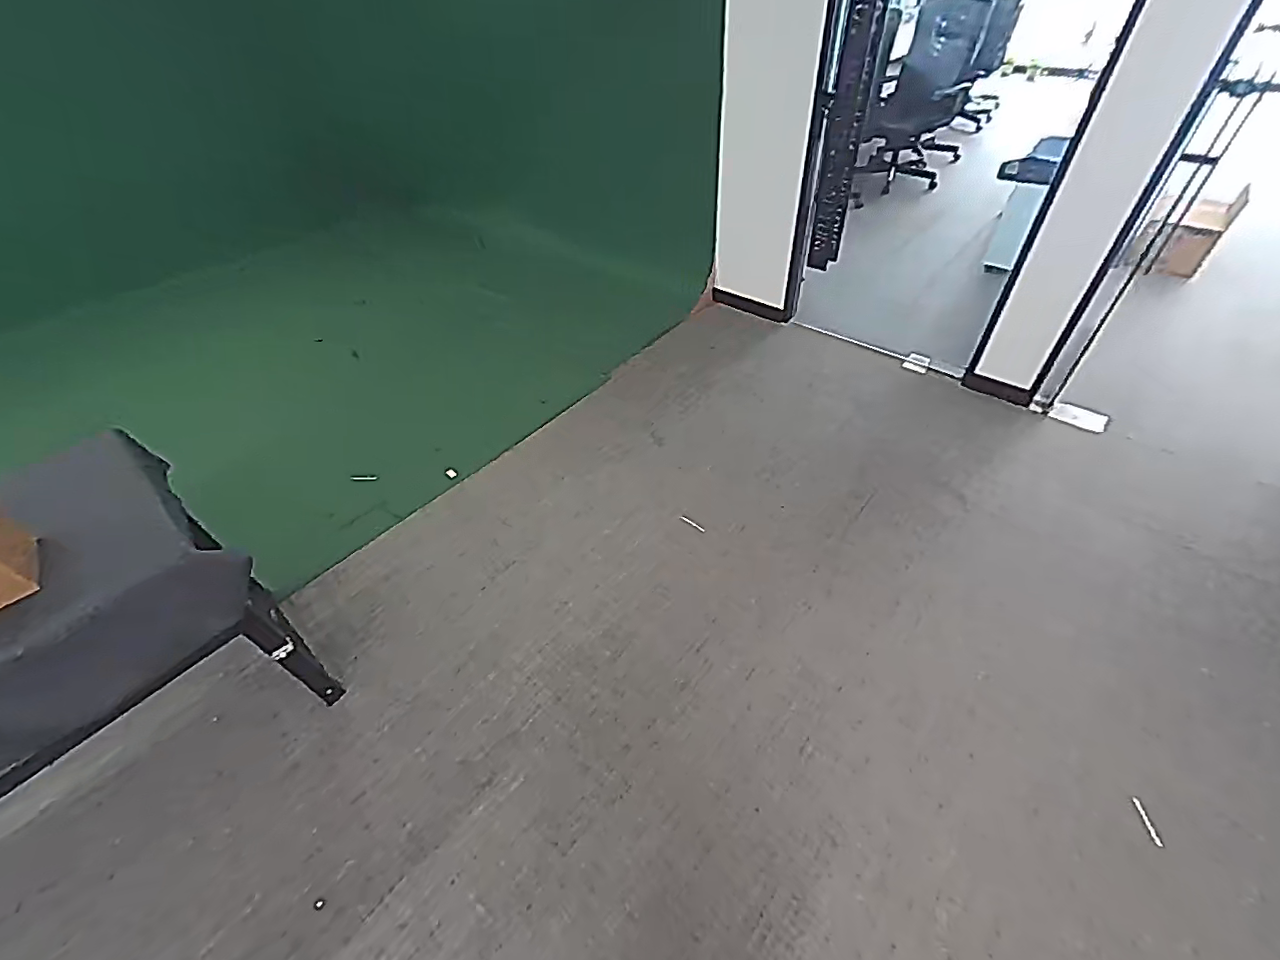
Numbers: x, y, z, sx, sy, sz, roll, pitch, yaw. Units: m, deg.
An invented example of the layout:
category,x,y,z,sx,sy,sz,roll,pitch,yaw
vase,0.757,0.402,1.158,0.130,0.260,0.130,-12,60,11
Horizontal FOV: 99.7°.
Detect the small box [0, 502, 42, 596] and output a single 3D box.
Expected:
category,x,y,z,sx,sy,sz,roll,pitch,yaw
small box,-1.282,0.131,1.009,0.168,0.176,0.179,-31,50,-26
